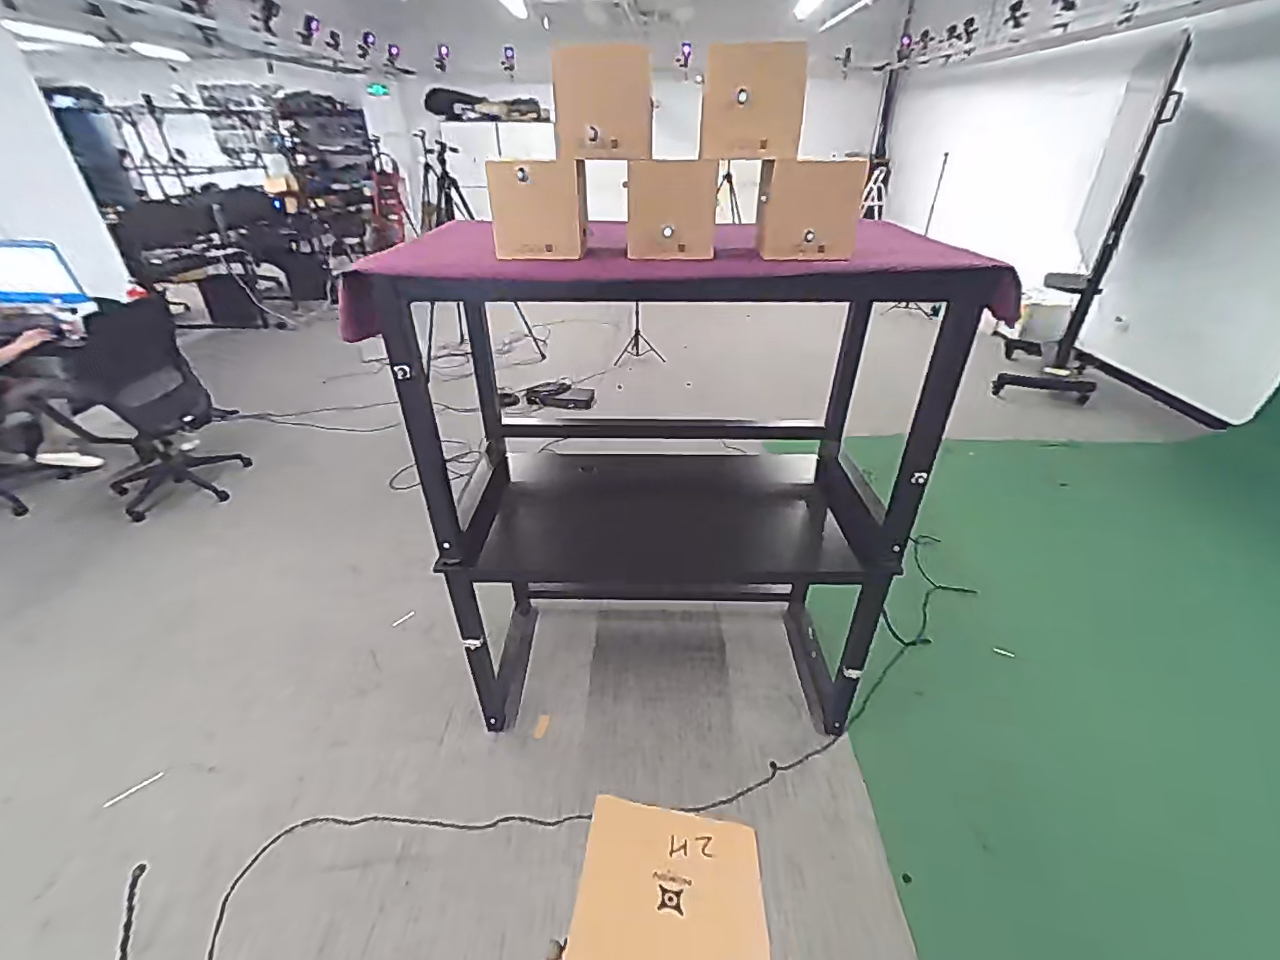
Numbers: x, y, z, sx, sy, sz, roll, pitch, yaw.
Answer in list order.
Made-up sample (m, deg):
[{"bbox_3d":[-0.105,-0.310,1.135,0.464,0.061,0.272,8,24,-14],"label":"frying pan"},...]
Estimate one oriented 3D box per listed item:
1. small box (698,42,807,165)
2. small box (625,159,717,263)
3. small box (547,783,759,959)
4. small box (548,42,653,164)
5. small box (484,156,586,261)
[{"bbox_3d":[0.193,-0.670,0.977,0.168,0.176,0.179,1,31,2],"label":"small box"},{"bbox_3d":[0.057,-0.535,1.067,0.168,0.176,0.179,1,32,1],"label":"small box"},{"bbox_3d":[0.006,0.427,0.496,0.168,0.176,0.179,11,15,3],"label":"small box"},{"bbox_3d":[-0.064,-0.678,0.986,0.168,0.176,0.179,1,32,3],"label":"small box"},{"bbox_3d":[-0.196,-0.538,1.068,0.168,0.176,0.179,0,31,0],"label":"small box"}]
